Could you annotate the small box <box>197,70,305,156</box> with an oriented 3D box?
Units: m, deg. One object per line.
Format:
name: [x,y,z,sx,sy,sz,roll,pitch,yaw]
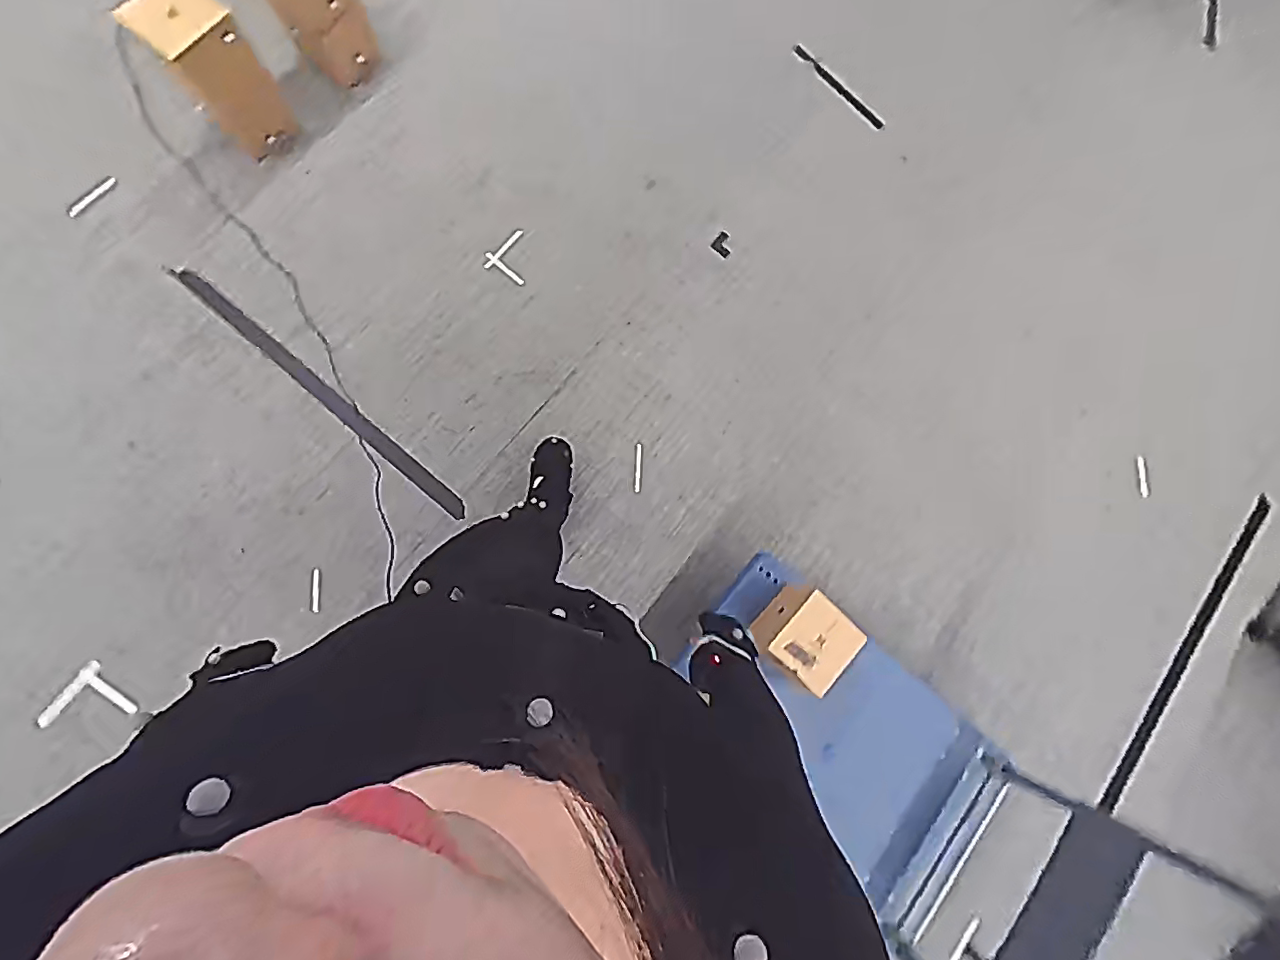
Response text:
small box: [-1.056,-1.024,1.450,0.179,0.176,0.168,43,80,-2]

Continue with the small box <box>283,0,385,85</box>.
small box: [-0.853,-1.266,1.507,0.179,0.176,0.168,39,80,-2]

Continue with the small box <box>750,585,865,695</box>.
small box: [0.384,0.370,1.284,0.168,0.176,0.179,45,79,-1]

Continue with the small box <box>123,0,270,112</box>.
small box: [-1.039,-1.037,1.289,0.168,0.176,0.179,38,80,-1]

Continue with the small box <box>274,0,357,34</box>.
small box: [-0.837,-1.283,1.344,0.168,0.176,0.179,38,79,-1]
